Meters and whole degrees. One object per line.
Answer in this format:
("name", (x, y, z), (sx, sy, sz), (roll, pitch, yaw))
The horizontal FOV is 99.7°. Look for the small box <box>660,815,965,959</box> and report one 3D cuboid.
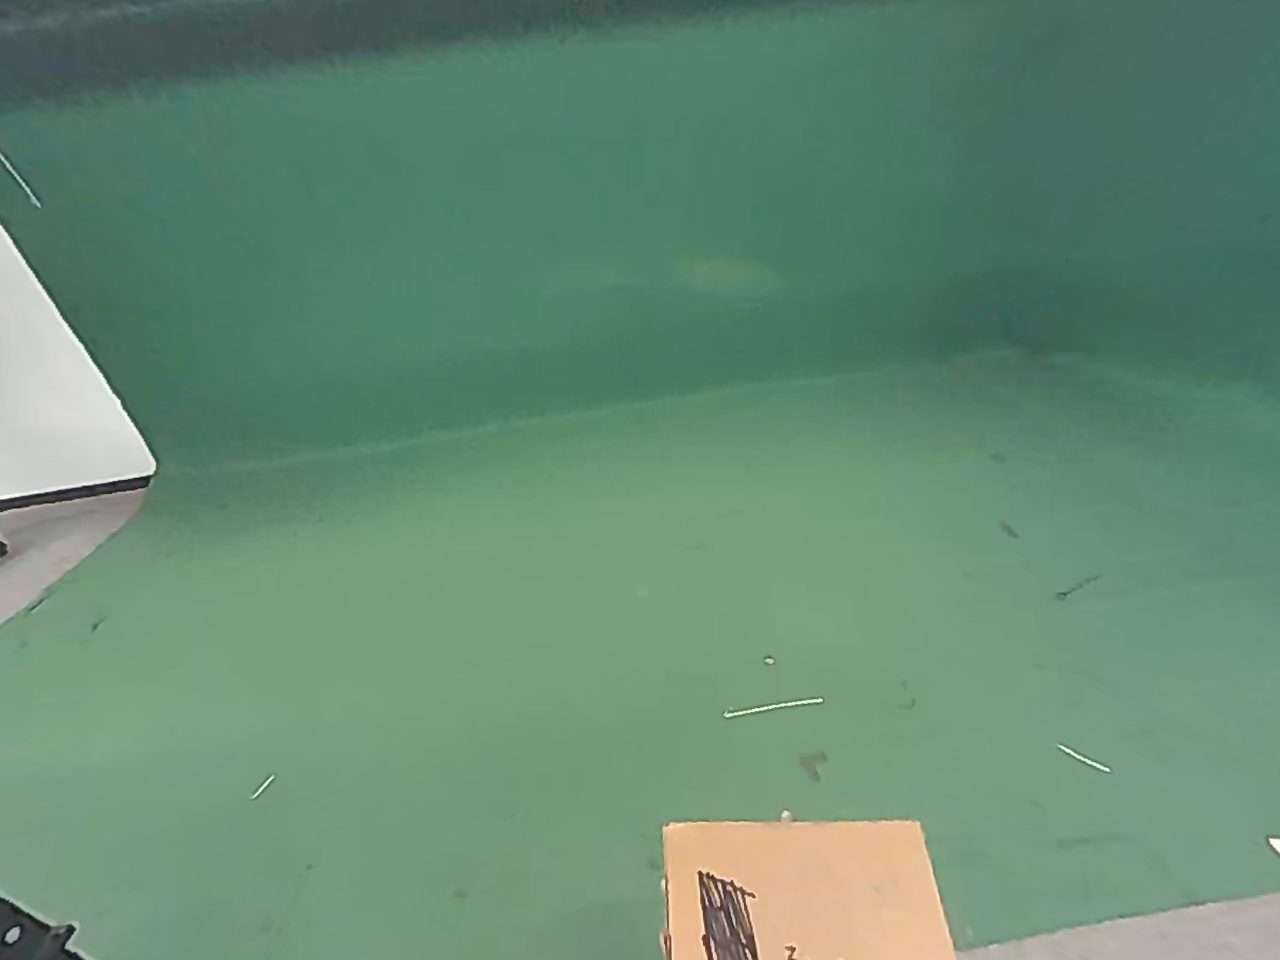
("small box", (0.109, 0.338, 0.372), (0.179, 0.176, 0.168), (-4, 52, 4))
